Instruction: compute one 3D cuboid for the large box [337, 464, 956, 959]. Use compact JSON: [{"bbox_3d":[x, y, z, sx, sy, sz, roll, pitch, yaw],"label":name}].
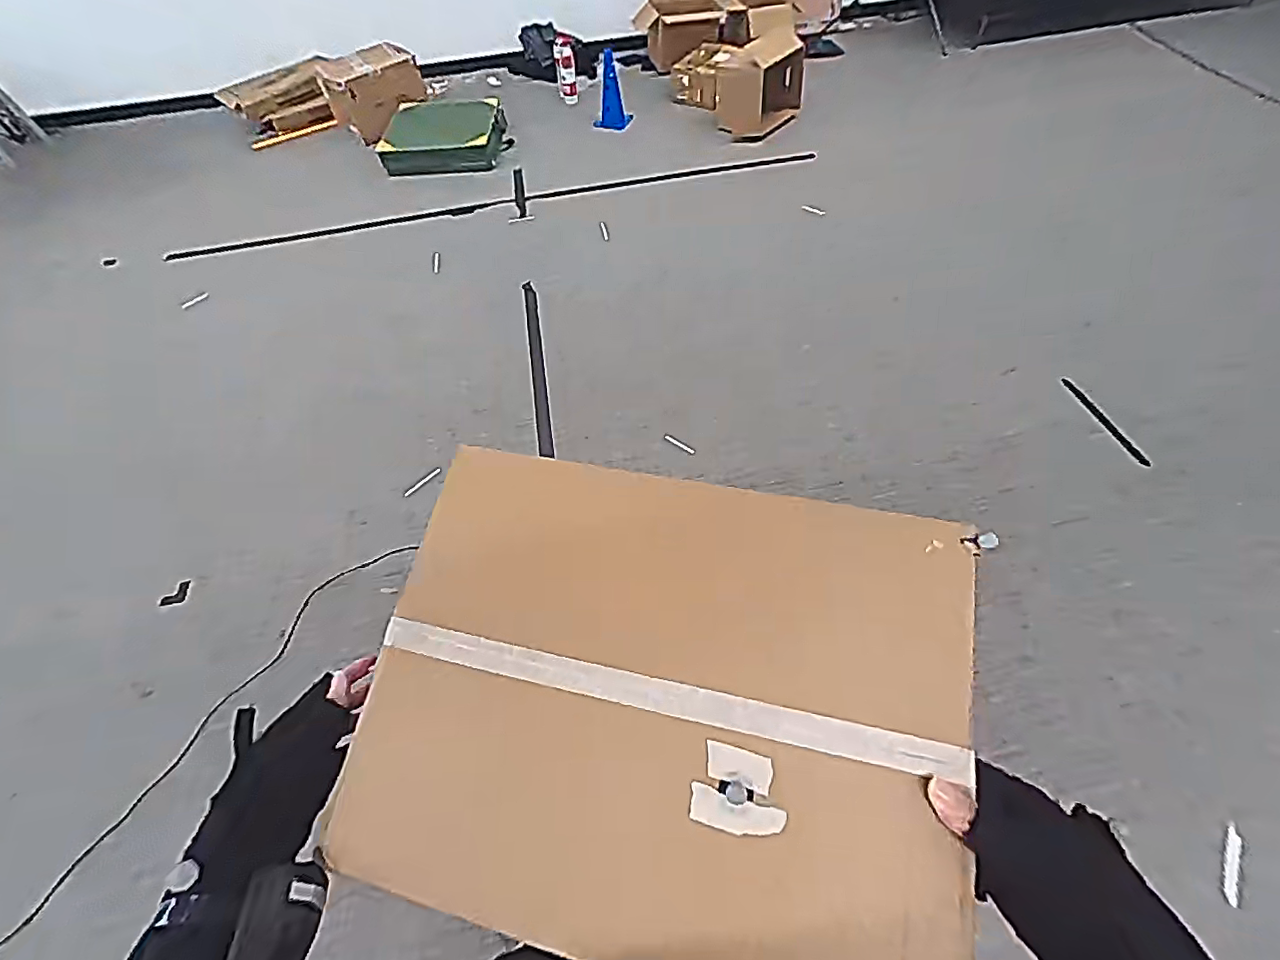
[{"bbox_3d":[0.028,0.206,0.523,0.408,0.320,0.320,9,71,12],"label":"large box"}]
